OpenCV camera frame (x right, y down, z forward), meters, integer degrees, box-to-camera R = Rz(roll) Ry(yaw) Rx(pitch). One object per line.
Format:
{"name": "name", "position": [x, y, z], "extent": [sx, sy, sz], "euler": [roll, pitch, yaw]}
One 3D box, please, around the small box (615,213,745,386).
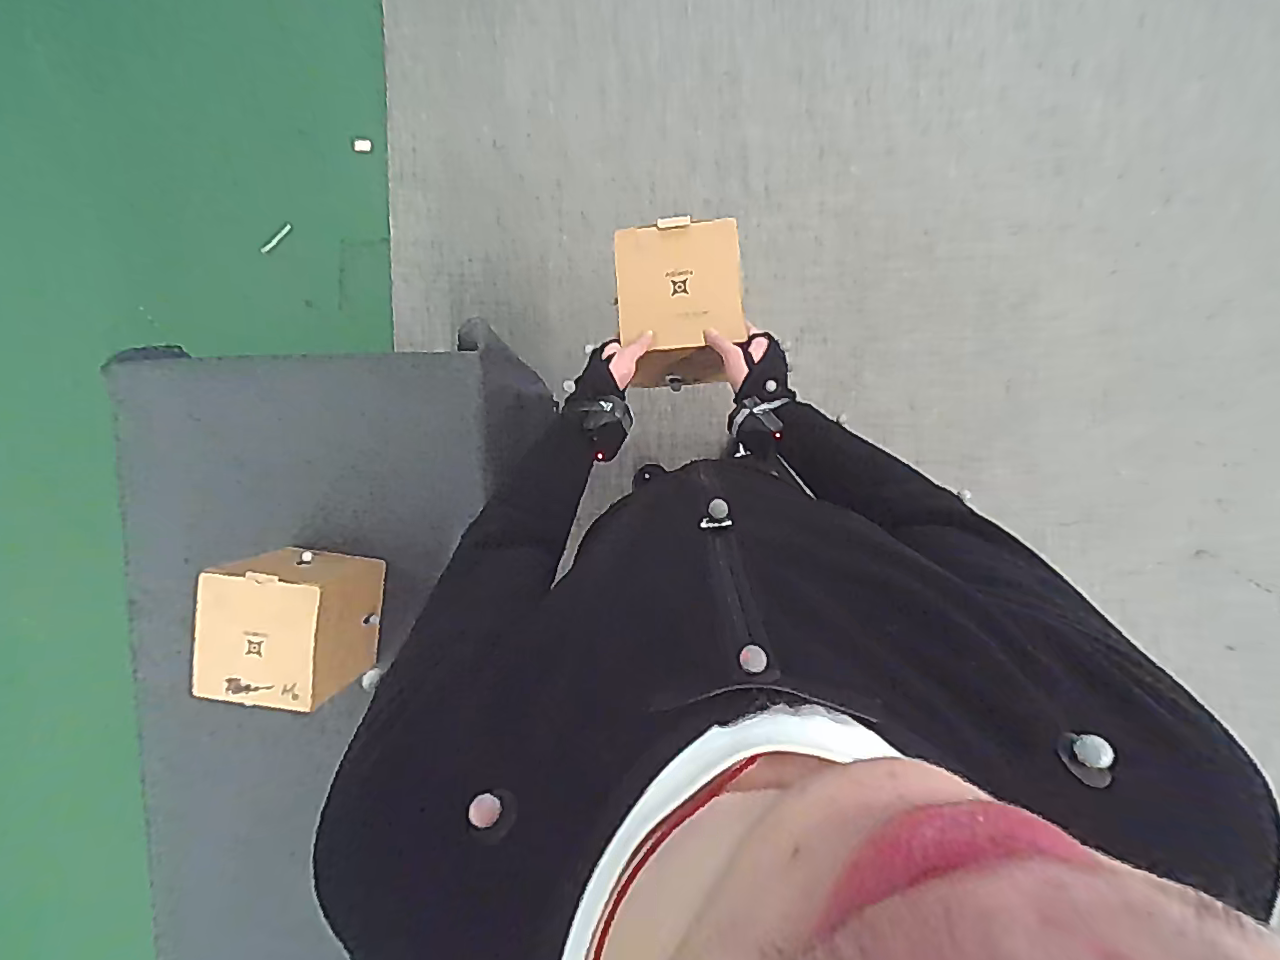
{"name": "small box", "position": [0.054, -0.245, 0.769], "extent": [0.168, 0.176, 0.179], "euler": [-2, 82, 5]}

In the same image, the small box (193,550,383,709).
{"name": "small box", "position": [-0.503, 0.207, 0.799], "extent": [0.168, 0.176, 0.179], "euler": [8, 93, 2]}
